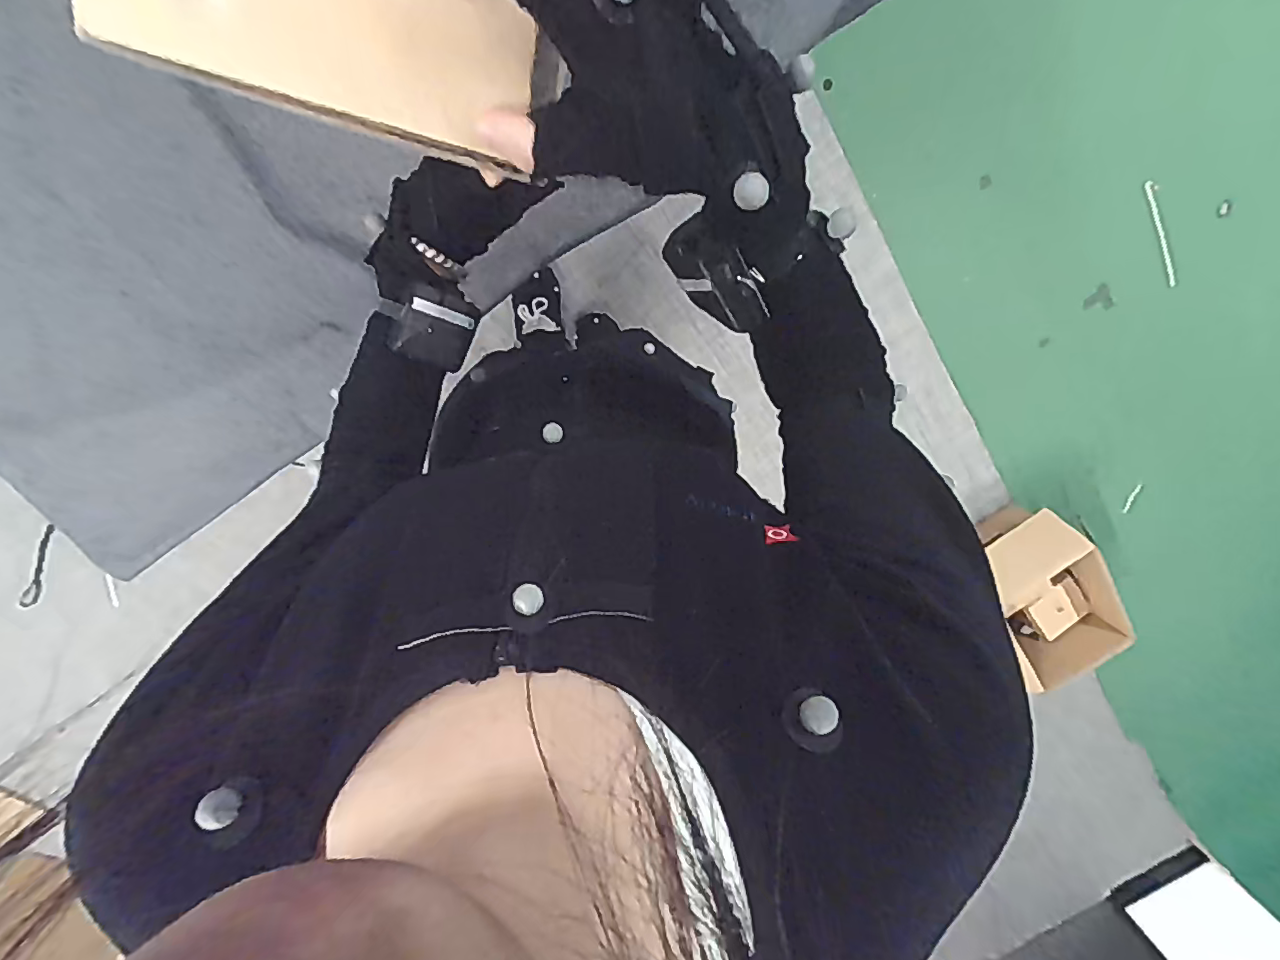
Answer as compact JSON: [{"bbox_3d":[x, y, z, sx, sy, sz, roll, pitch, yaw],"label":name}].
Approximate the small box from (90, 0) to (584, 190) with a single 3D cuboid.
[{"bbox_3d":[-0.118,-0.261,0.266,0.179,0.168,0.176,11,116,-11],"label":"small box"}]
